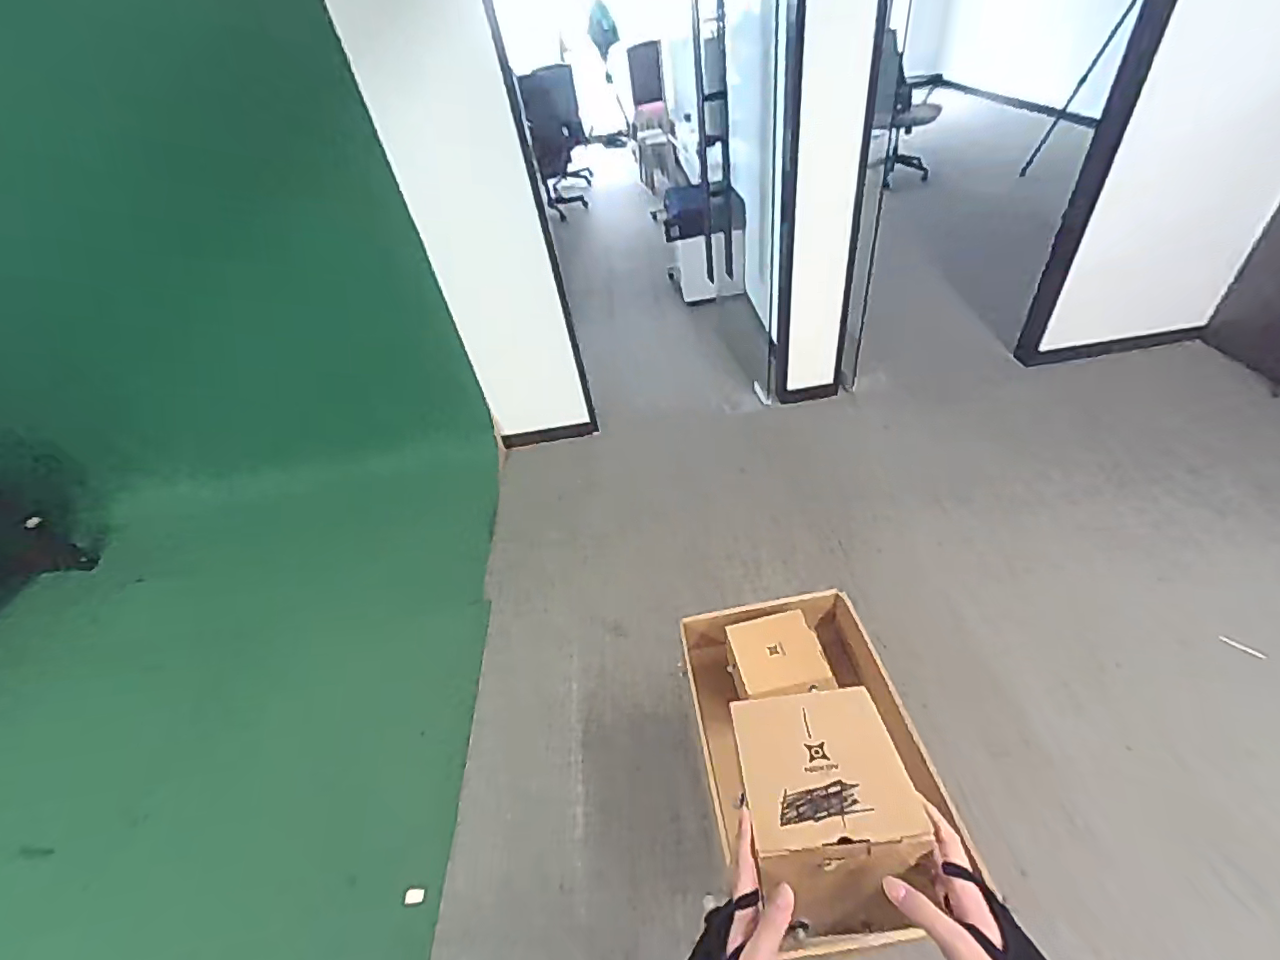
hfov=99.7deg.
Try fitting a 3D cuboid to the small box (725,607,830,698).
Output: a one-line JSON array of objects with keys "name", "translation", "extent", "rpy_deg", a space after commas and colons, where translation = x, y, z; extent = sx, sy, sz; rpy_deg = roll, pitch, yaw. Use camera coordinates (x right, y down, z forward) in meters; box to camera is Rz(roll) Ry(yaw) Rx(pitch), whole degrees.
[{"name": "small box", "translation": [0.296, 0.411, 1.186], "extent": [0.179, 0.176, 0.168], "rpy_deg": [-12, 41, -2]}]

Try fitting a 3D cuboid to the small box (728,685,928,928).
[{"name": "small box", "translation": [0.198, 0.364, 0.605], "extent": [0.168, 0.176, 0.179], "rpy_deg": [-8, 27, 4]}]
